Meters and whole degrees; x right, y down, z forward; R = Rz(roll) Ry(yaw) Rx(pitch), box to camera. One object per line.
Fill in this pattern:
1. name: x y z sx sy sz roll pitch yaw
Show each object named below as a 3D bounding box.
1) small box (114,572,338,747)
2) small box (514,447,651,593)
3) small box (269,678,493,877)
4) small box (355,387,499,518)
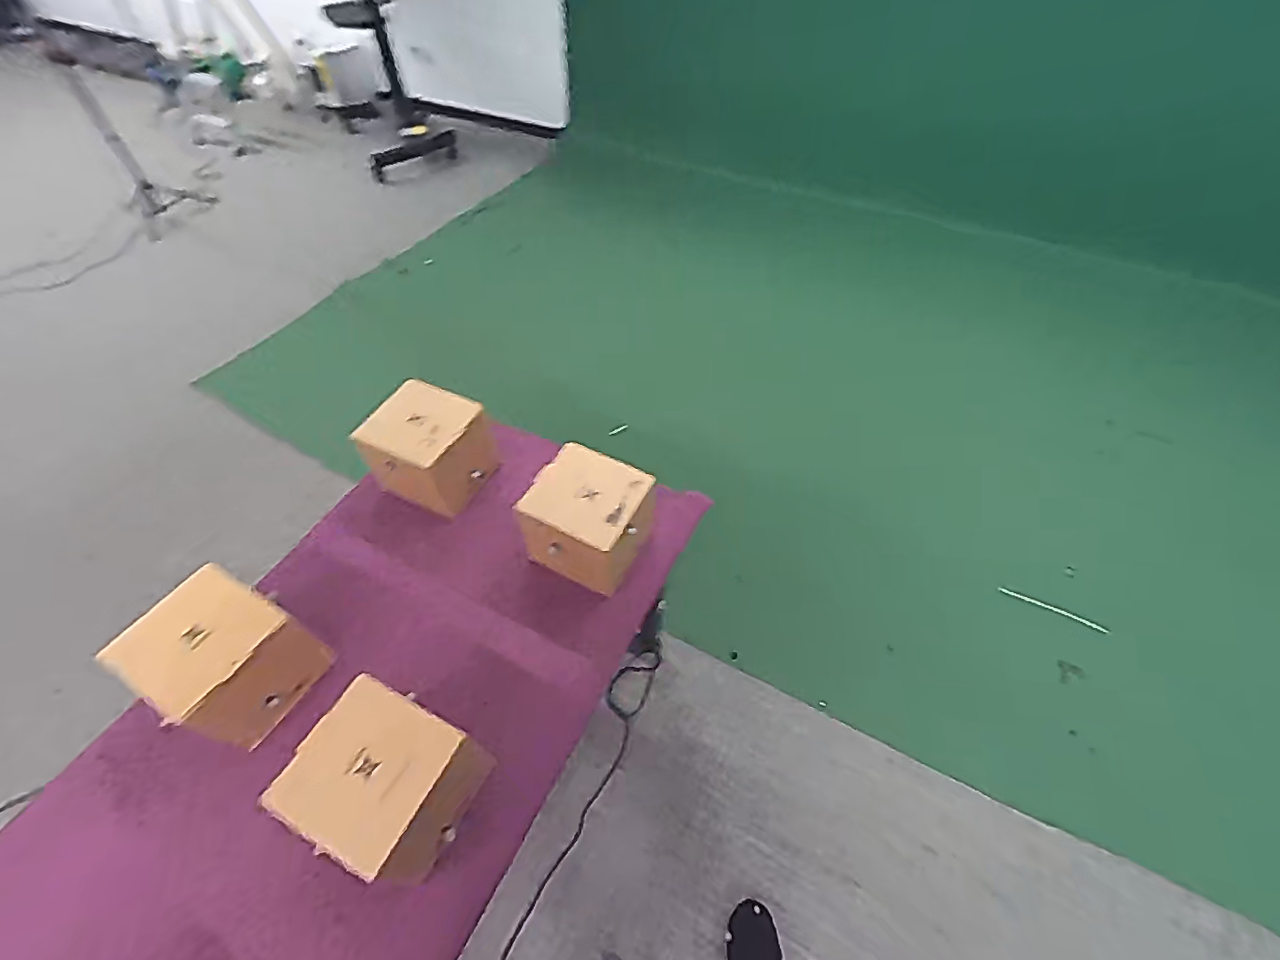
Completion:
1. small box: -0.612 0.277 0.823 0.179 0.176 0.168 24 56 16
2. small box: -0.093 0.076 0.964 0.179 0.176 0.168 23 57 17
3. small box: -0.327 0.400 0.721 0.179 0.176 0.168 21 56 18
4. small box: -0.408 -0.050 1.067 0.179 0.176 0.168 21 58 15
